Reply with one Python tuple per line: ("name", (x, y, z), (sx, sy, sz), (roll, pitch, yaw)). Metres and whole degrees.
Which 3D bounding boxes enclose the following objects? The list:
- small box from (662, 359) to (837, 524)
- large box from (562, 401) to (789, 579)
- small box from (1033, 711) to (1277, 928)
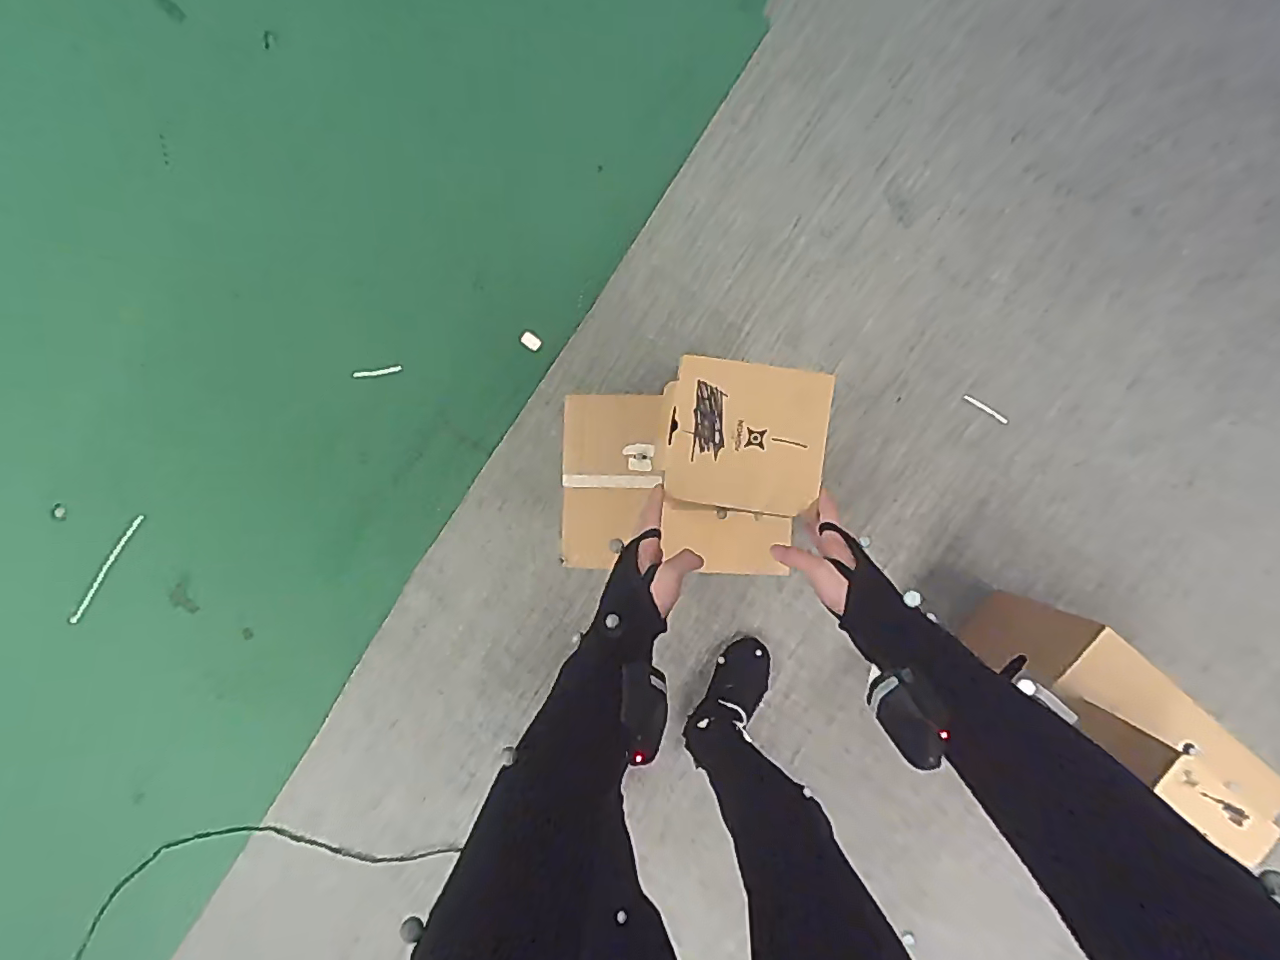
("small box", (0.124, -0.039, 0.680), (0.179, 0.176, 0.168), (9, 87, 1))
("large box", (0.072, 0.017, 1.098), (0.408, 0.320, 0.320), (1, 89, 4))
("small box", (0.743, 0.491, 0.811), (0.168, 0.176, 0.179), (40, 93, 3))
